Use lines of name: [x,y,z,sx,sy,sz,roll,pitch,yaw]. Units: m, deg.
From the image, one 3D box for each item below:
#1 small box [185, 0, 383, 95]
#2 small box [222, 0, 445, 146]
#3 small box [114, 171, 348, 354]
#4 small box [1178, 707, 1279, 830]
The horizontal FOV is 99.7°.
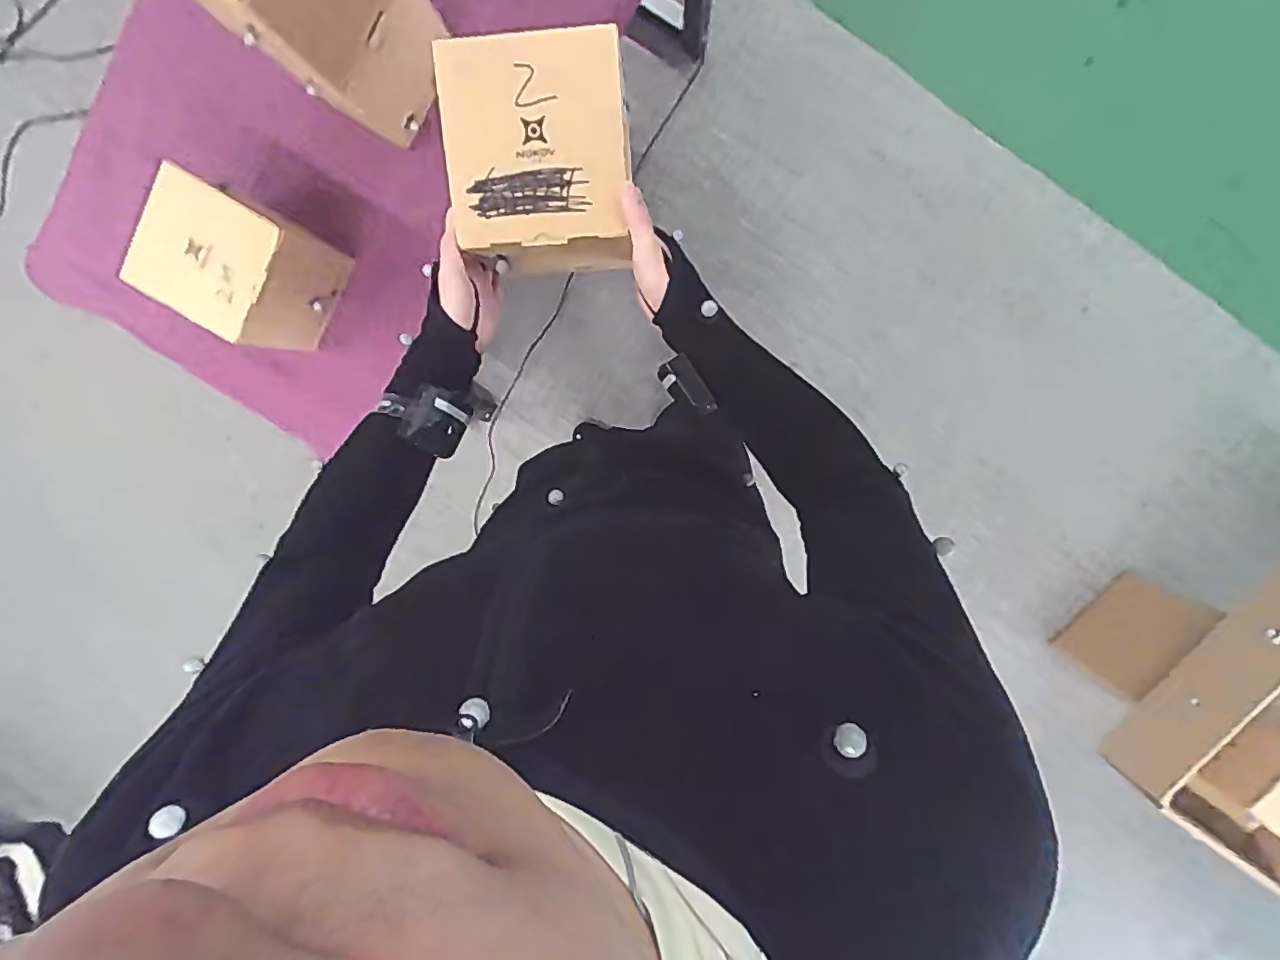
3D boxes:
small box: [-0.396,-0.557,0.560,0.168,0.176,0.179,31,99,-4]
small box: [-0.393,-0.586,0.720,0.179,0.176,0.168,31,99,-2]
small box: [-0.569,-0.292,0.775,0.179,0.176,0.168,30,100,-3]
small box: [1.359,0.633,1.174,0.179,0.176,0.168,35,100,-3]
